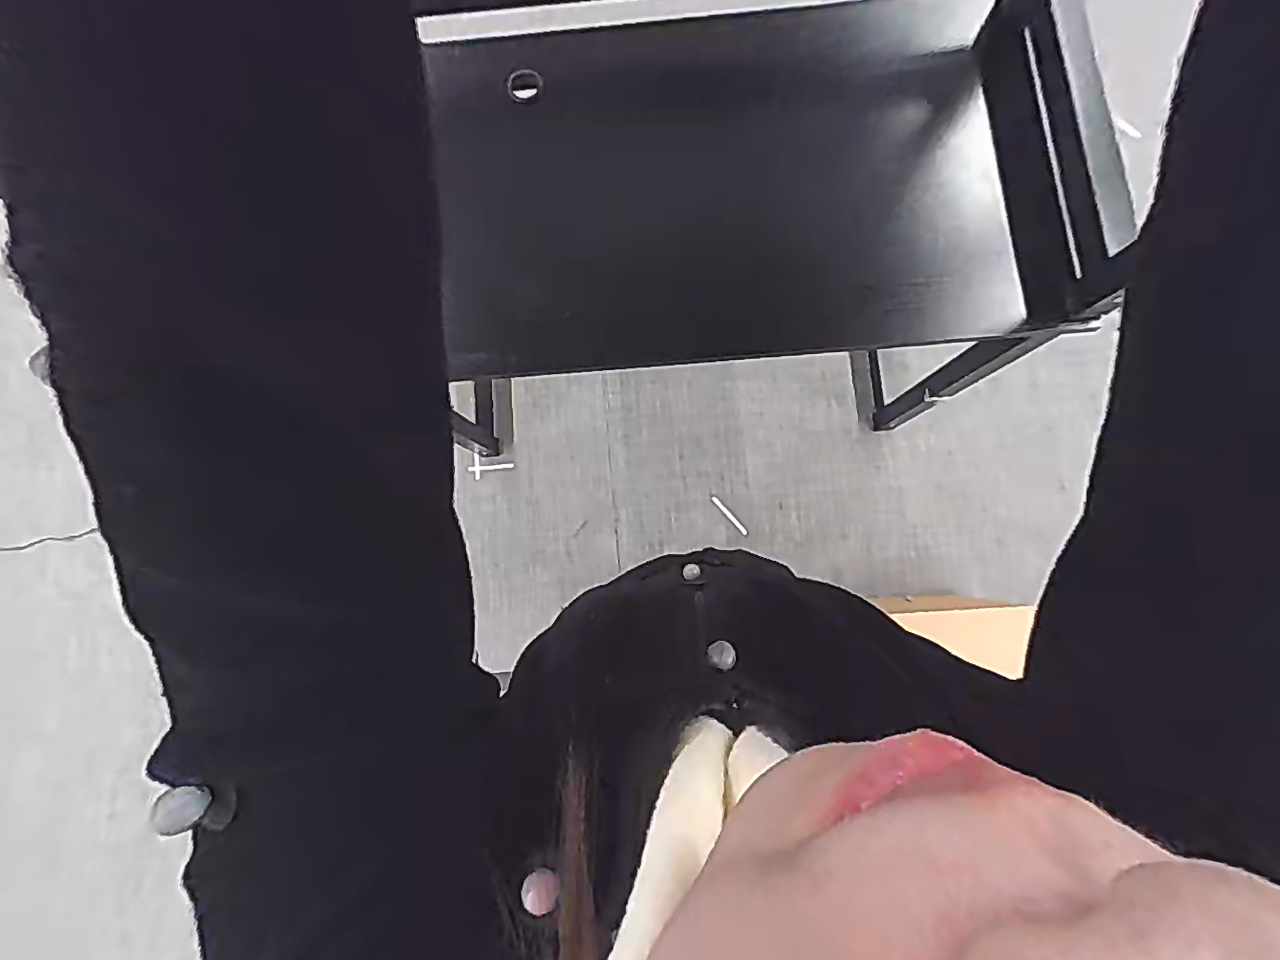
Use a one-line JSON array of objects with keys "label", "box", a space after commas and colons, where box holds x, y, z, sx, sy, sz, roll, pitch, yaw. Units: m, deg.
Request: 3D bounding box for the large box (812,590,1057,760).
[{"label": "large box", "box": [0.671, 0.444, 1.304, 0.408, 0.320, 0.320, -4, 83, 1]}]
